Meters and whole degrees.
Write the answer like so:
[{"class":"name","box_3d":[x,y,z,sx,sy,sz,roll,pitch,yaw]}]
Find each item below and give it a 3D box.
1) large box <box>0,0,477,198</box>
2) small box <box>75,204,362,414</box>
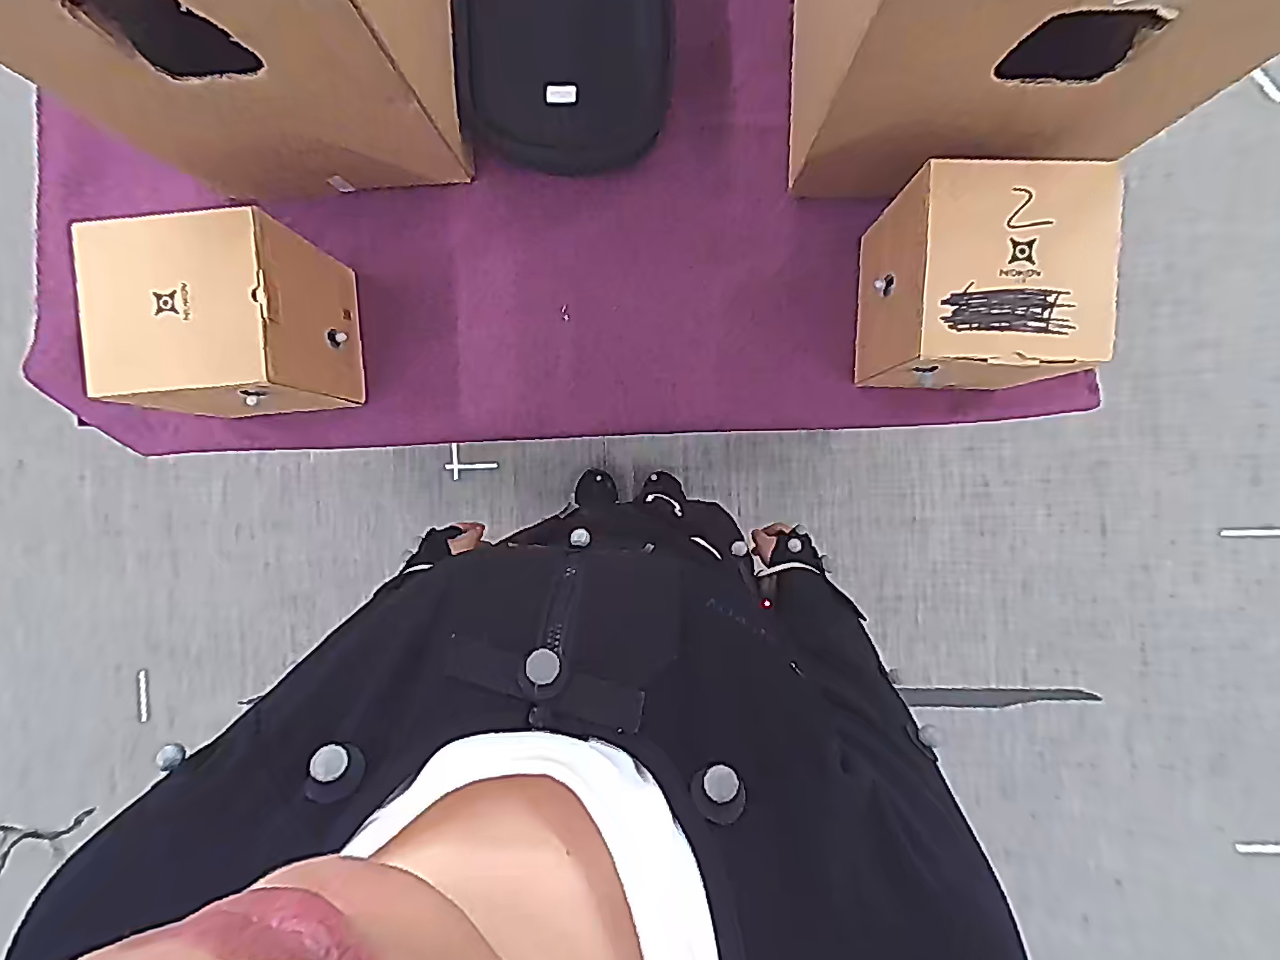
[{"class":"large box","box_3d":[-0.363,-0.541,0.499,0.320,0.320,0.408,-4,94,3]},{"class":"small box","box_3d":[-0.432,-0.167,0.581,0.179,0.176,0.168,-5,90,1]}]
